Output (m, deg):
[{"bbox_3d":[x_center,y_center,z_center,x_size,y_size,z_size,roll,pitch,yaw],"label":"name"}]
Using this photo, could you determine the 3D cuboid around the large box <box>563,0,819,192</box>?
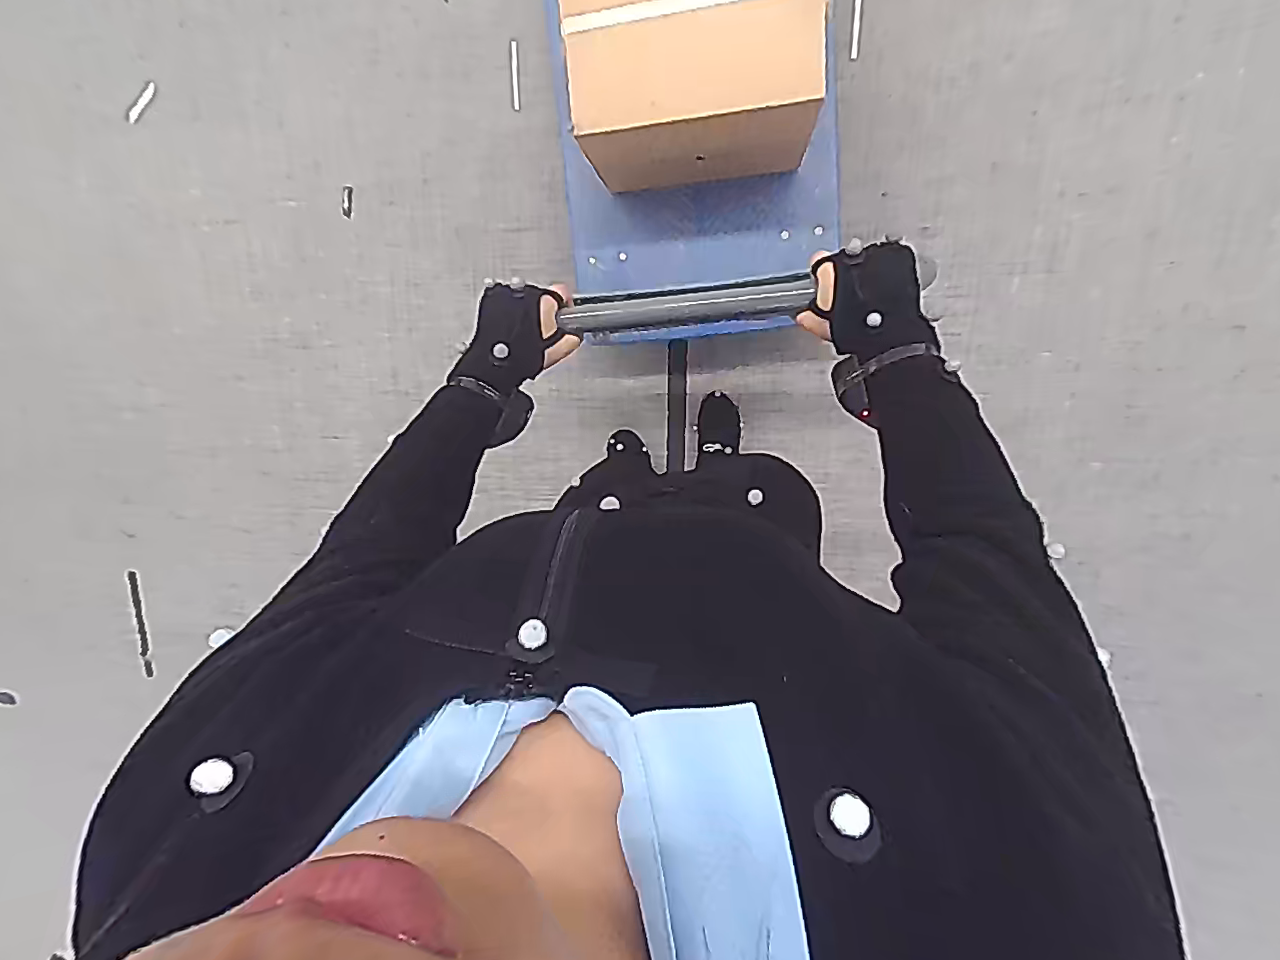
[{"bbox_3d":[0.099,-0.766,0.999,0.408,0.320,0.320,-3,100,10],"label":"large box"}]
